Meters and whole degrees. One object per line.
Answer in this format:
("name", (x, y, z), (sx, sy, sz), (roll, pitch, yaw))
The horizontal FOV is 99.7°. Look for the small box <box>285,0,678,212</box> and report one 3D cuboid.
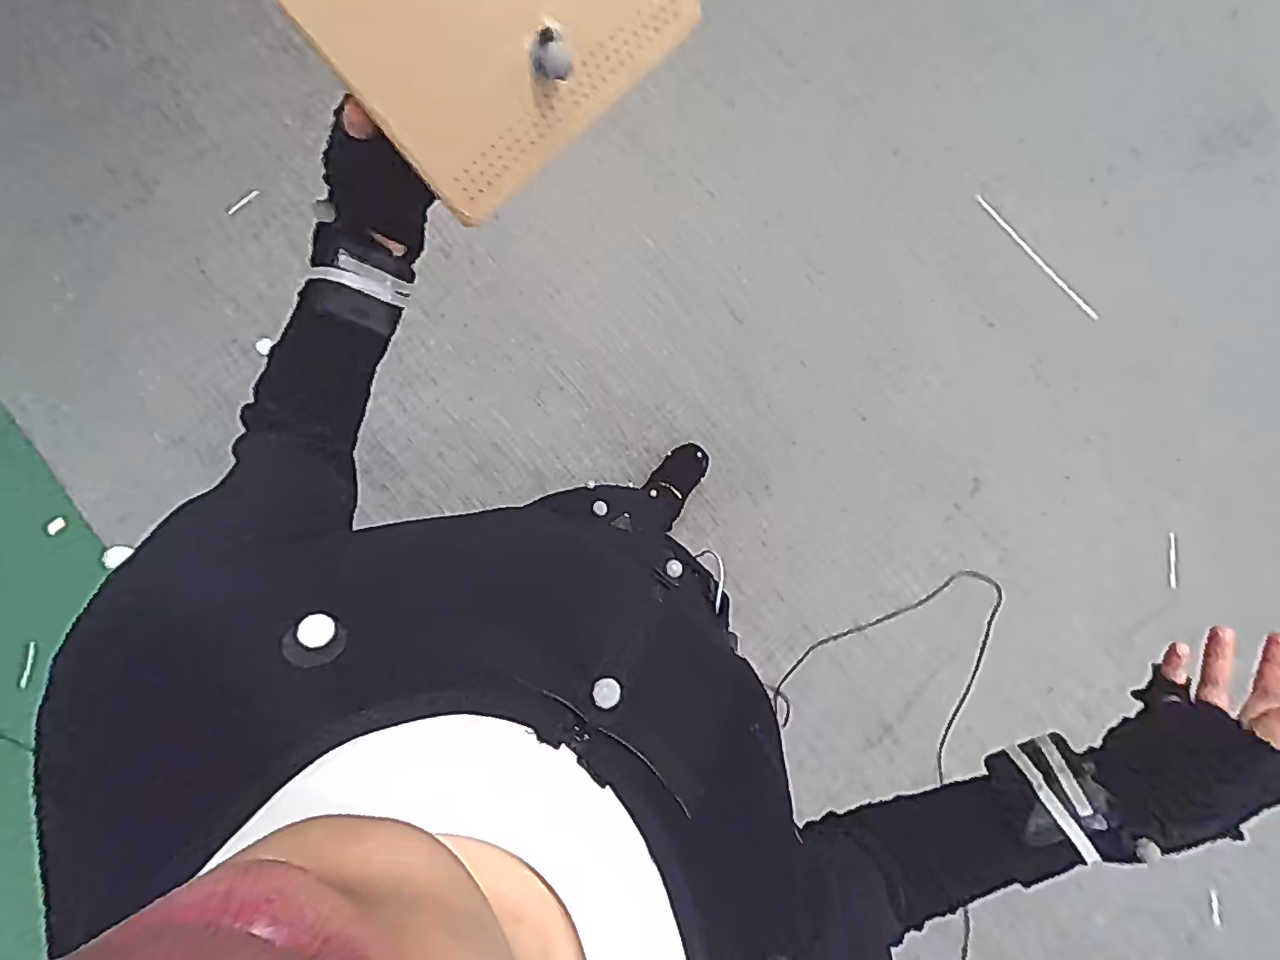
("small box", (-0.098, -0.282, 0.270), (0.179, 0.176, 0.168), (-40, 59, 3))
